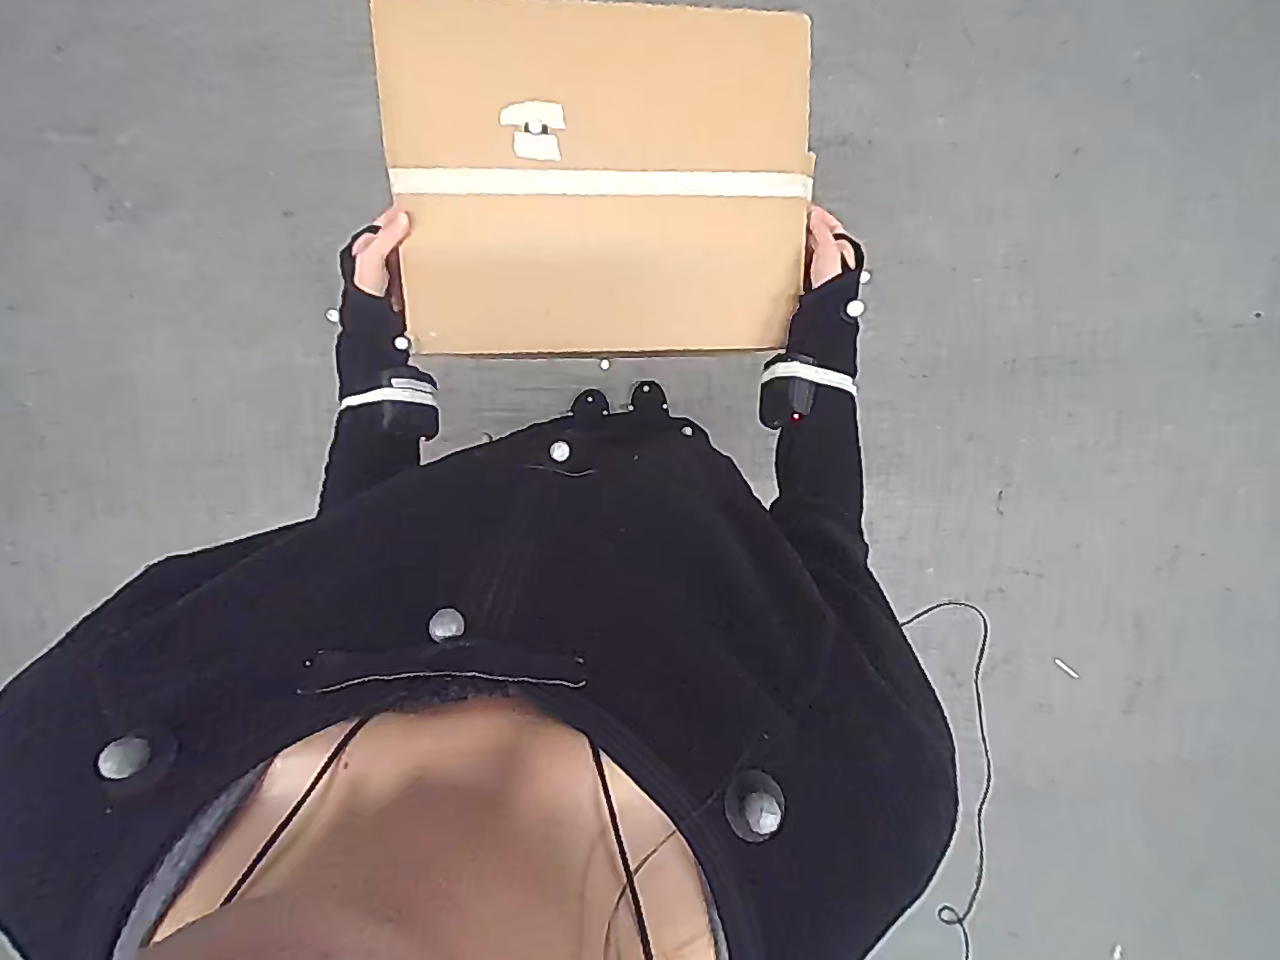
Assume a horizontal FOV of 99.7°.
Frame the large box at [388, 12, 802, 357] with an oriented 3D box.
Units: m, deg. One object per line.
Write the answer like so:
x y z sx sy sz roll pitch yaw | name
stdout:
-0.048 -0.318 0.689 0.408 0.320 0.320 -2 101 -6 | large box
